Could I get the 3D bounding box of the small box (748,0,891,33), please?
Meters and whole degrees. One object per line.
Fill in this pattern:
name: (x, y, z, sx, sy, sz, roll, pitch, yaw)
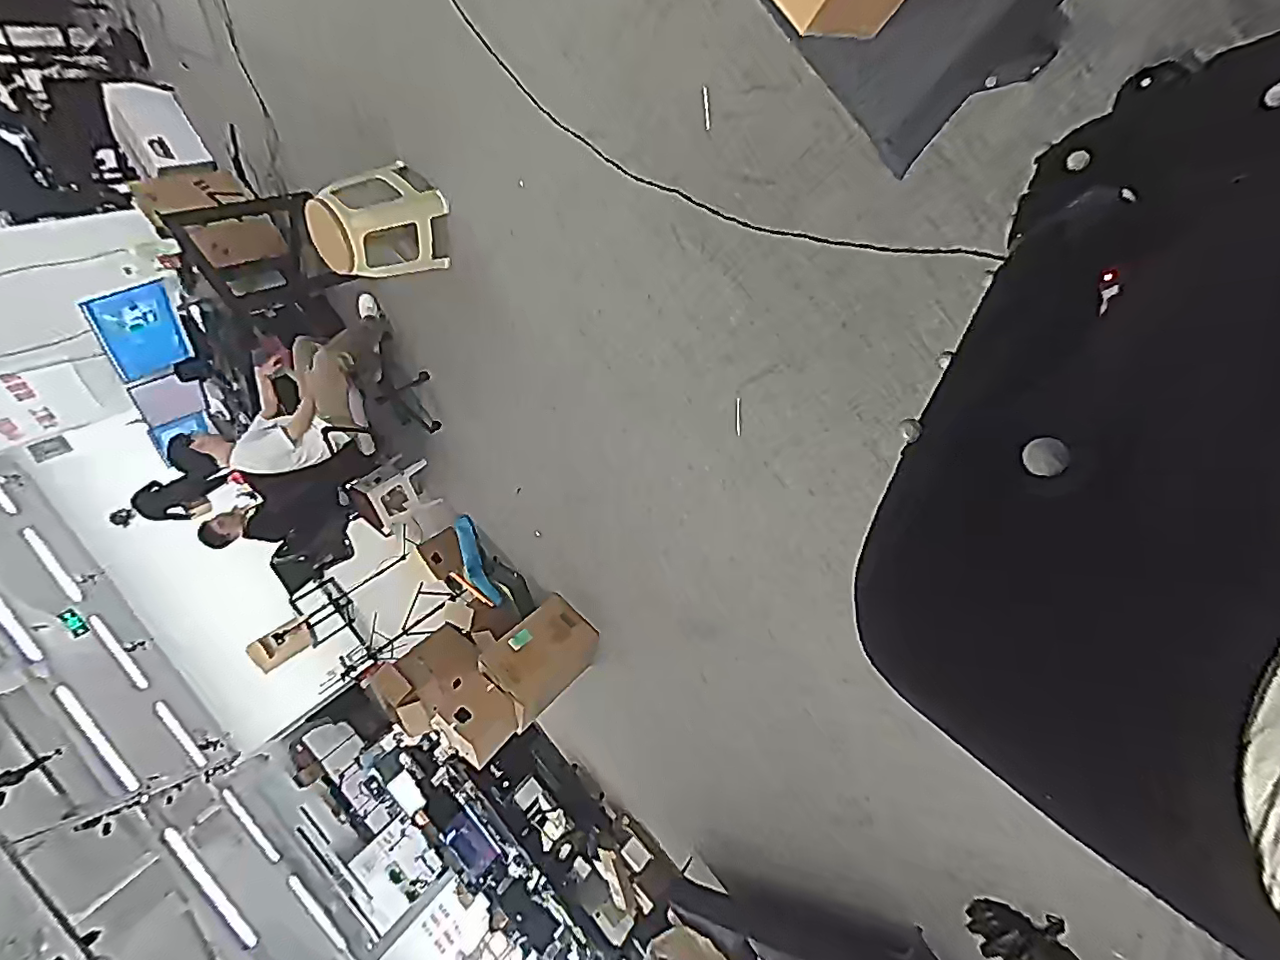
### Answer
small box: (0.154, -0.498, 0.427, 0.179, 0.176, 0.168, 53, 145, 0)
